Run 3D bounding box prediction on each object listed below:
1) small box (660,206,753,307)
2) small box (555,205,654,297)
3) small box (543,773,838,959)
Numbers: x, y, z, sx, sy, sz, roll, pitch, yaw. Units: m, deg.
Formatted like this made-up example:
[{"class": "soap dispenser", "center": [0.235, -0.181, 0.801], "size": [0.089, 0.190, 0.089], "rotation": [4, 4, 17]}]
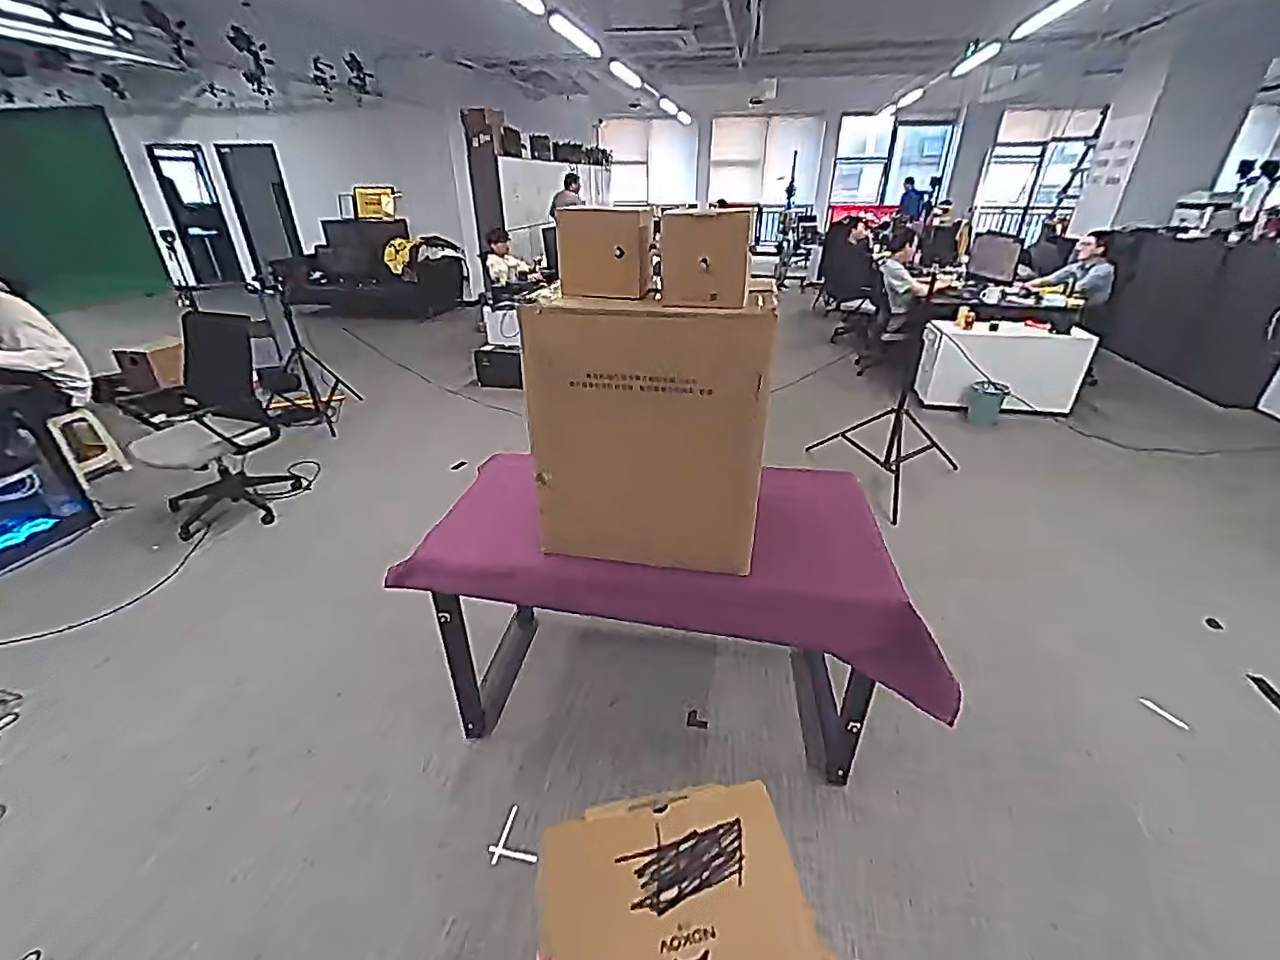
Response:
[{"class": "small box", "center": [0.136, -0.448, 1.082], "size": [0.168, 0.176, 0.179], "rotation": [5, 29, 11]}, {"class": "small box", "center": [-0.070, -0.493, 1.163], "size": [0.179, 0.176, 0.168], "rotation": [5, 28, 9]}, {"class": "small box", "center": [0.025, 0.340, 0.376], "size": [0.168, 0.176, 0.179], "rotation": [-4, 43, -16]}]
